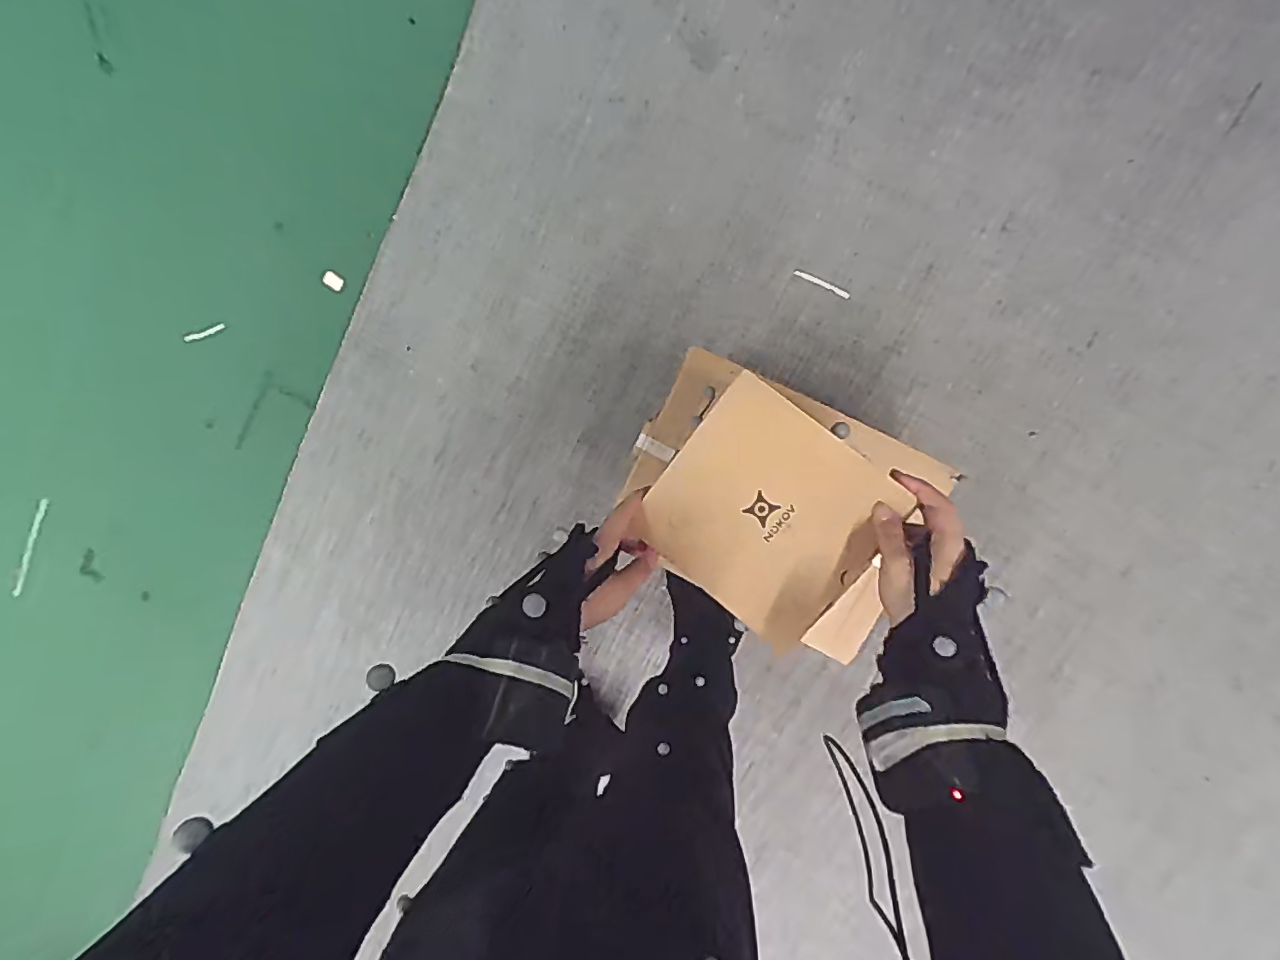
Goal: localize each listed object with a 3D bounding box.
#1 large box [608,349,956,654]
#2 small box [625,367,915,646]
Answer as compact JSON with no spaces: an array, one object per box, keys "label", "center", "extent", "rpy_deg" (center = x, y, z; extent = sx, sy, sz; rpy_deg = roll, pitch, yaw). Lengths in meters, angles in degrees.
[{"label":"large box","center":[0.211,0.019,0.916],"extent":[0.408,0.320,0.320],"rpy_deg":[27,99,7]},{"label":"small box","center":[0.113,0.019,0.520],"extent":[0.179,0.176,0.168],"rpy_deg":[38,99,5]}]
